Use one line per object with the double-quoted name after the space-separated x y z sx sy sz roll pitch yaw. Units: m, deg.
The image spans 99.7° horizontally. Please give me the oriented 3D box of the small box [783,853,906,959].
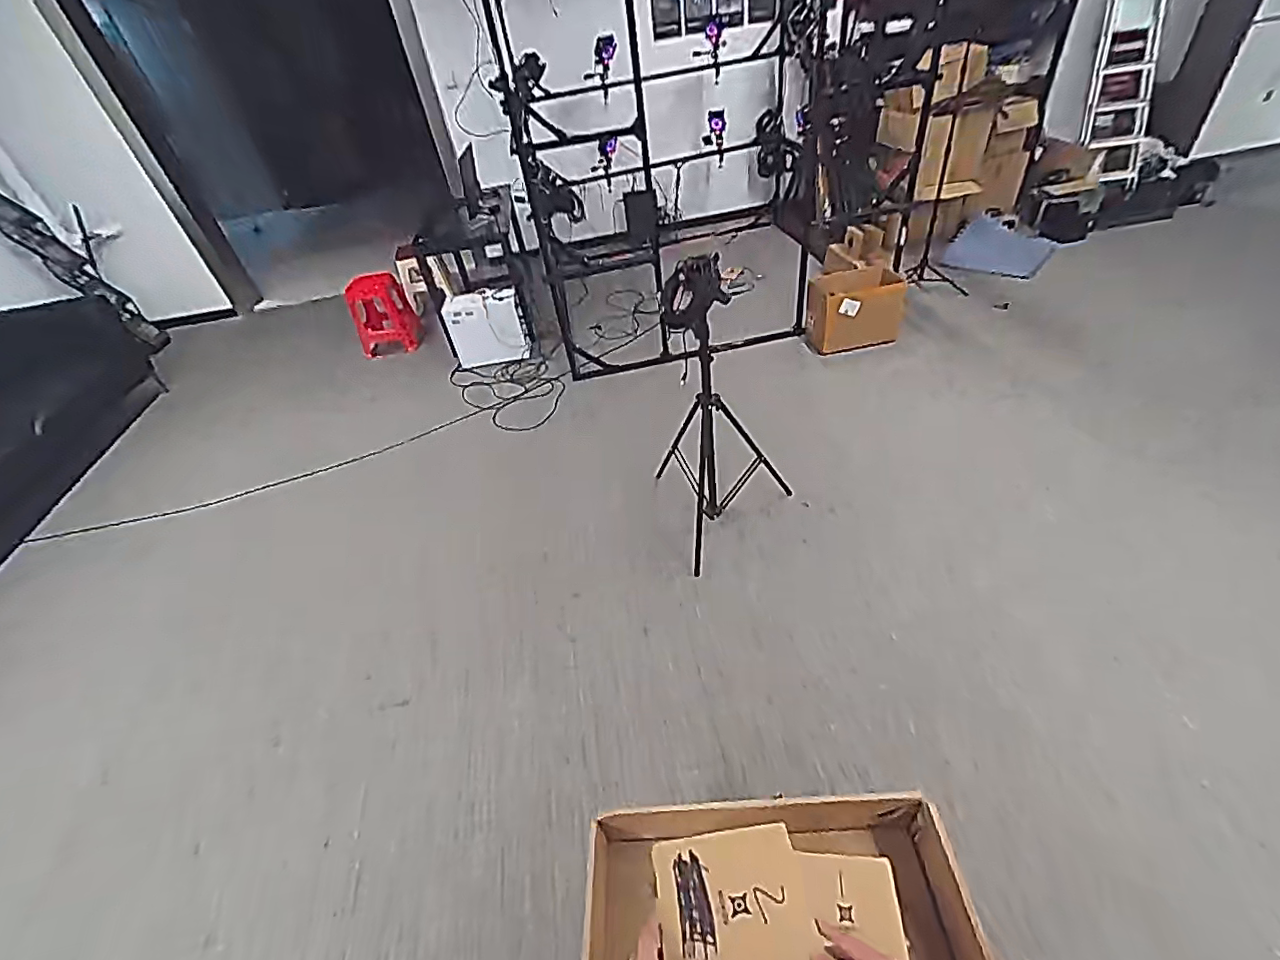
0.324 0.736 0.875 0.168 0.176 0.179 -2 40 10 "small box"
